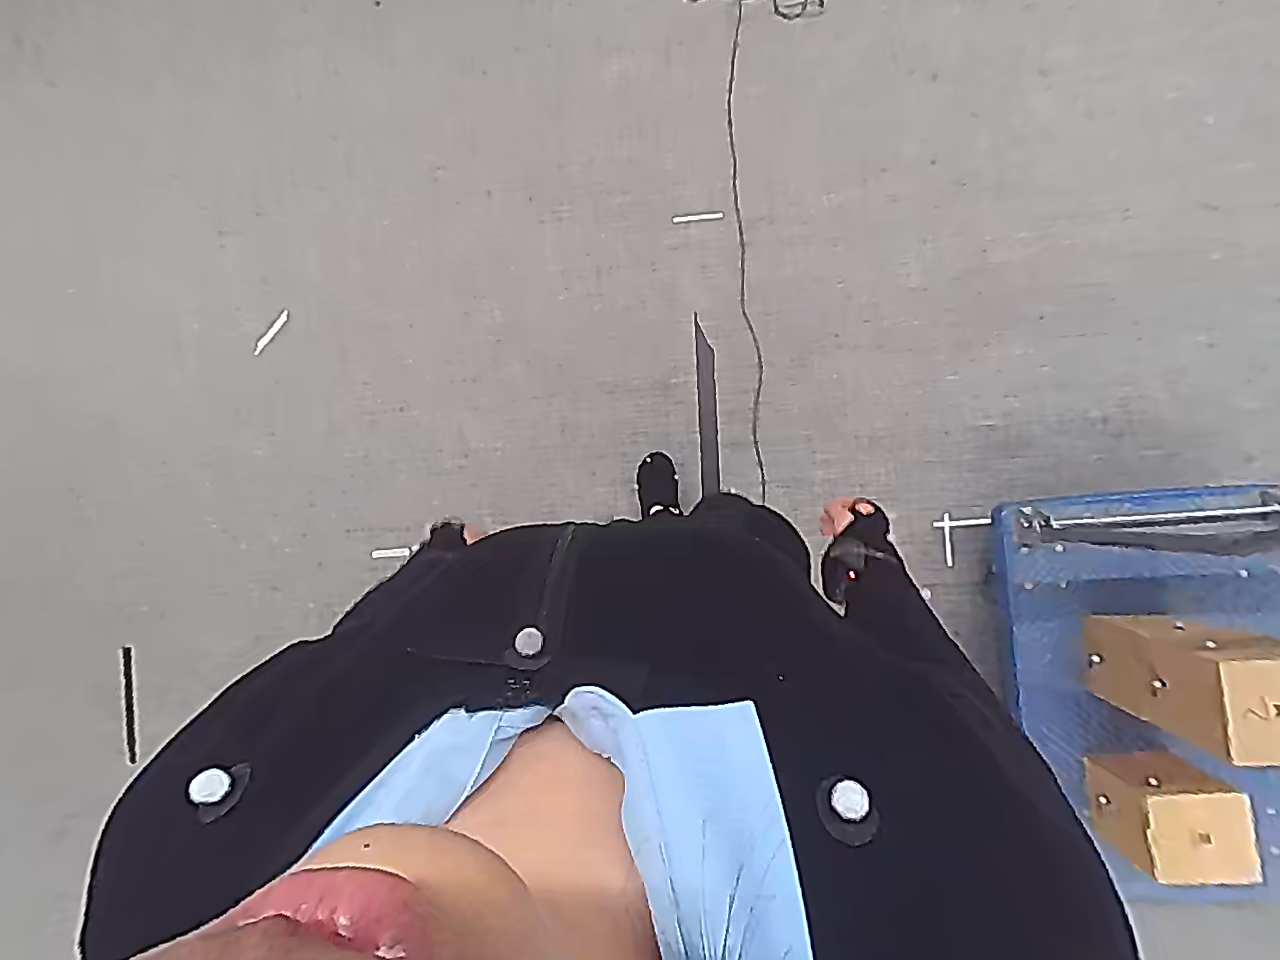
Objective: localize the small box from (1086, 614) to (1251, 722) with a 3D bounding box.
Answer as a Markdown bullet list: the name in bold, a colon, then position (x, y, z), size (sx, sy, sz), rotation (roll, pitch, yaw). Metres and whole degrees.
- **small box**: position (1.051, 0.369, 1.089), size (0.179, 0.176, 0.168), rotation (-1, 87, 8)

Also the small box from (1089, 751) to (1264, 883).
- **small box**: position (1.061, 0.664, 1.083), size (0.179, 0.176, 0.168), rotation (-7, 88, 7)
